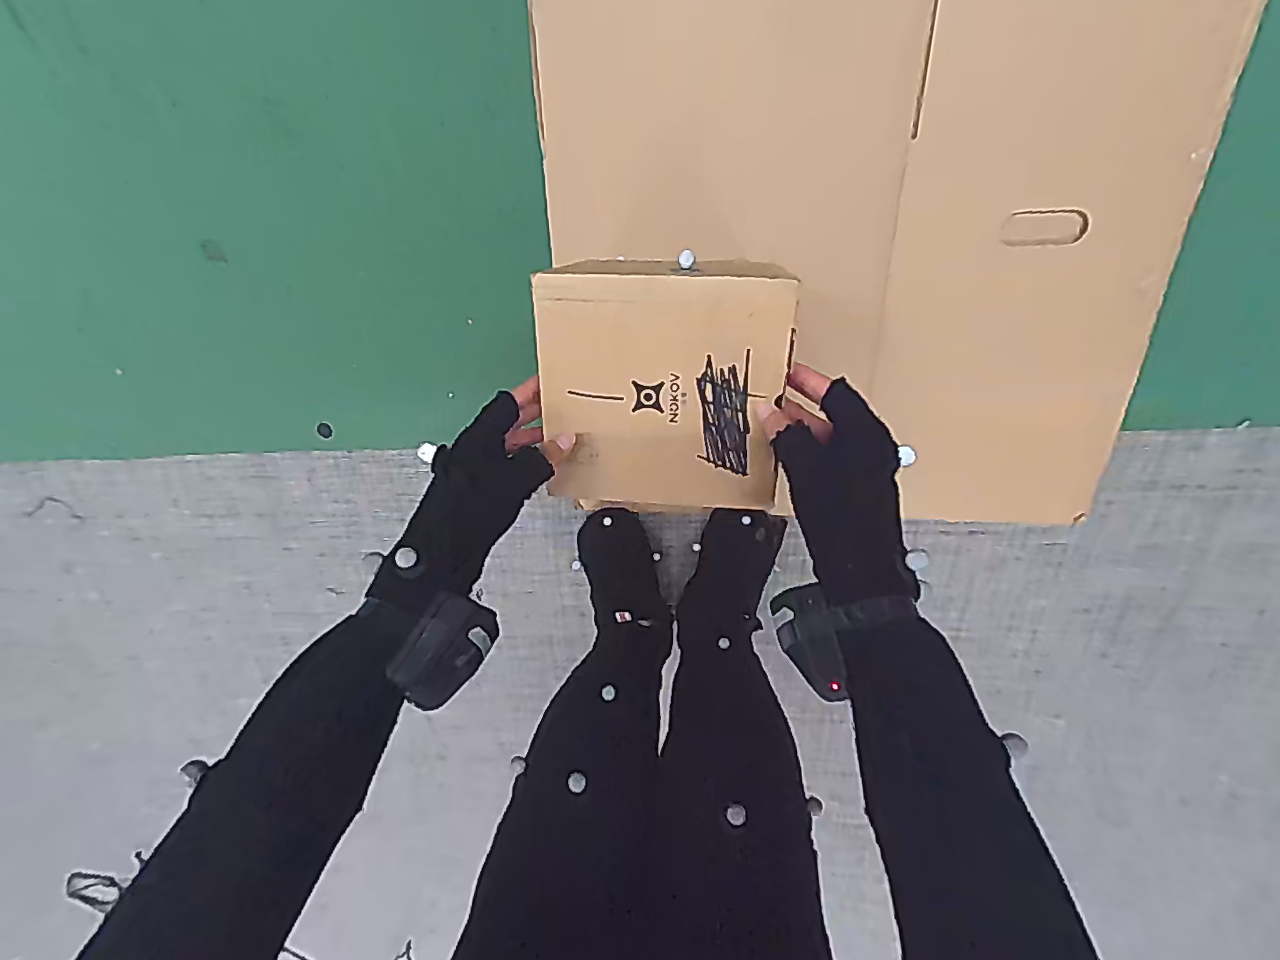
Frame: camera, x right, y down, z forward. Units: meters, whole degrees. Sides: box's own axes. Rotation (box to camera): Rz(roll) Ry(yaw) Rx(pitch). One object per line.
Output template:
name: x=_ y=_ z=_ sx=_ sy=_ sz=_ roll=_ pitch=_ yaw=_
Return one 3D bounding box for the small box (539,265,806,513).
small box: x=0.027 y=-0.087 z=0.452 sx=0.179 sy=0.176 sz=0.168 roll=4 pitch=115 yaw=7
